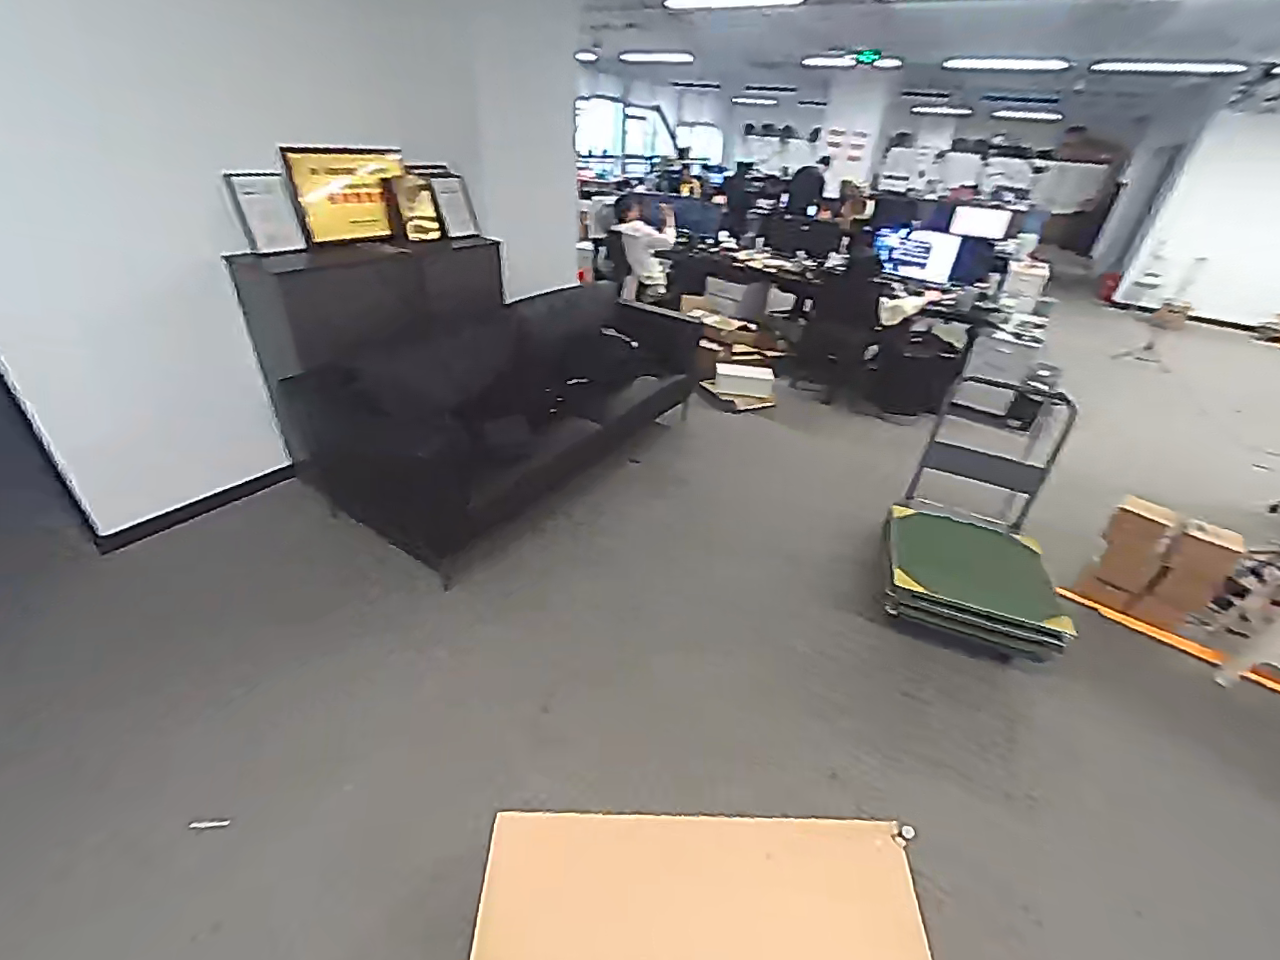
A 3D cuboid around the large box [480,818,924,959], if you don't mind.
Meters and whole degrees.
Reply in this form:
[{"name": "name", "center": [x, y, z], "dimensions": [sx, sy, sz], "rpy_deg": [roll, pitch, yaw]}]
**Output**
[{"name": "large box", "center": [0.052, 0.563, 0.559], "dimensions": [0.408, 0.320, 0.320], "rpy_deg": [0, 49, -1]}]
